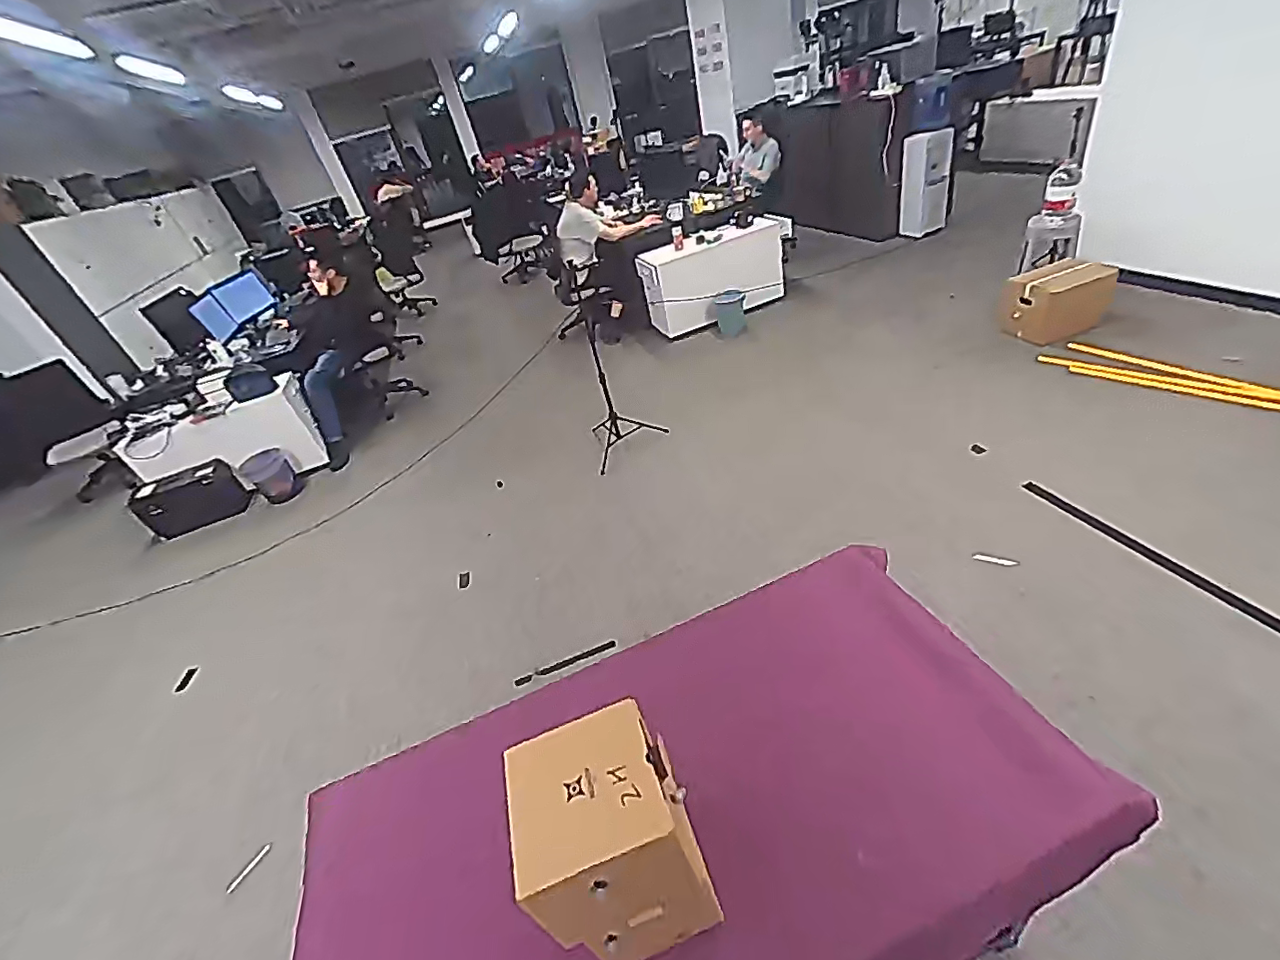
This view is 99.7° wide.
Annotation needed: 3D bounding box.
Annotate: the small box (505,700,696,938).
[{"bbox_3d":[-0.049,0.414,0.663,0.179,0.176,0.168,-20,36,-6],"label":"small box"}]
